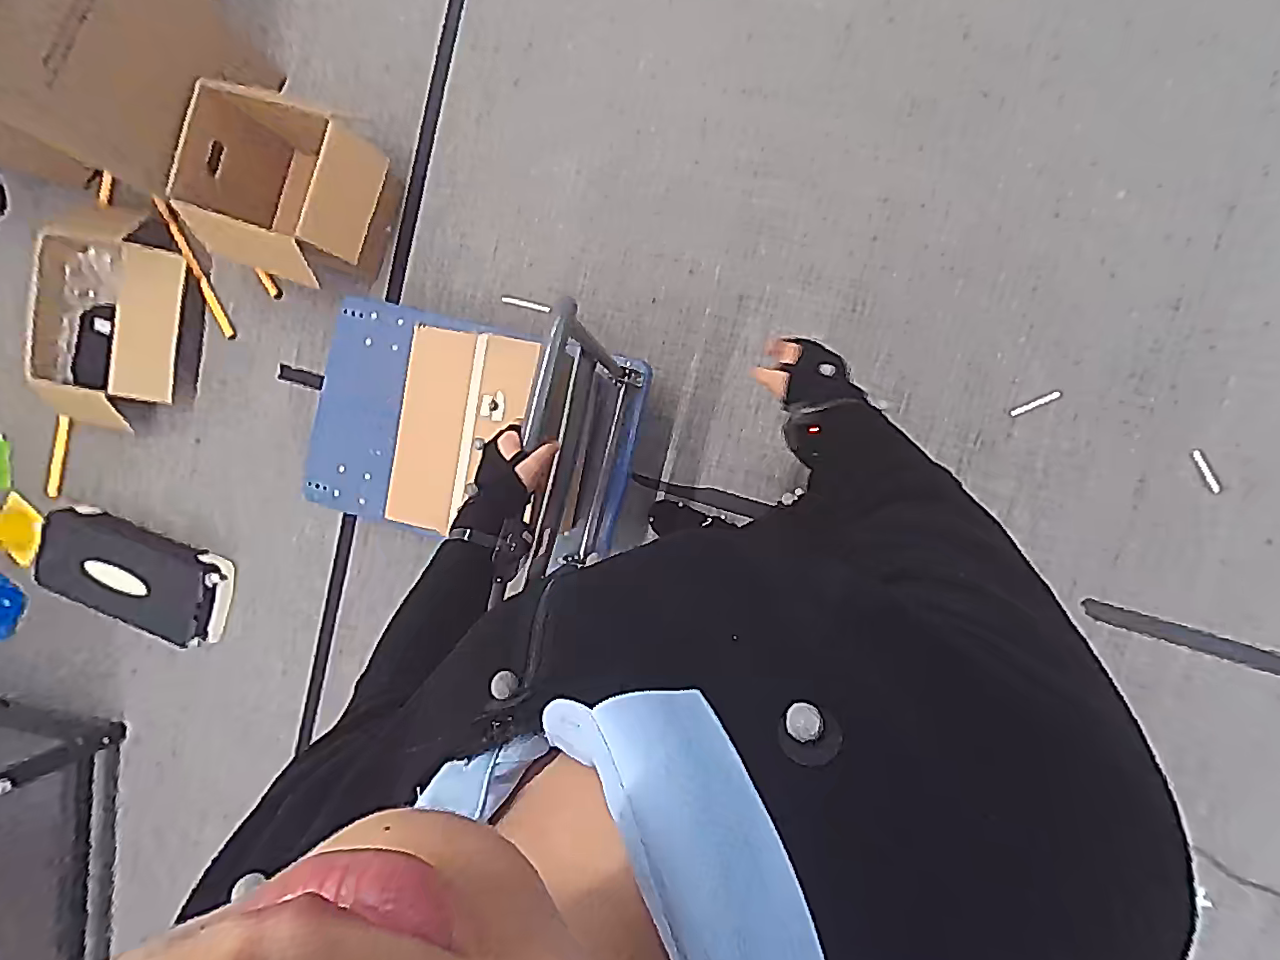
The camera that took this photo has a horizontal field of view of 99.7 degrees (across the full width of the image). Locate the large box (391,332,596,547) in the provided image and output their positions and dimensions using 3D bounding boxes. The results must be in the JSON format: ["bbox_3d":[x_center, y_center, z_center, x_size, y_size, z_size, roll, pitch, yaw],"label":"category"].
[{"bbox_3d":[-0.311,-0.083,1.231,0.320,0.320,0.408,10,92,9],"label":"large box"}]
